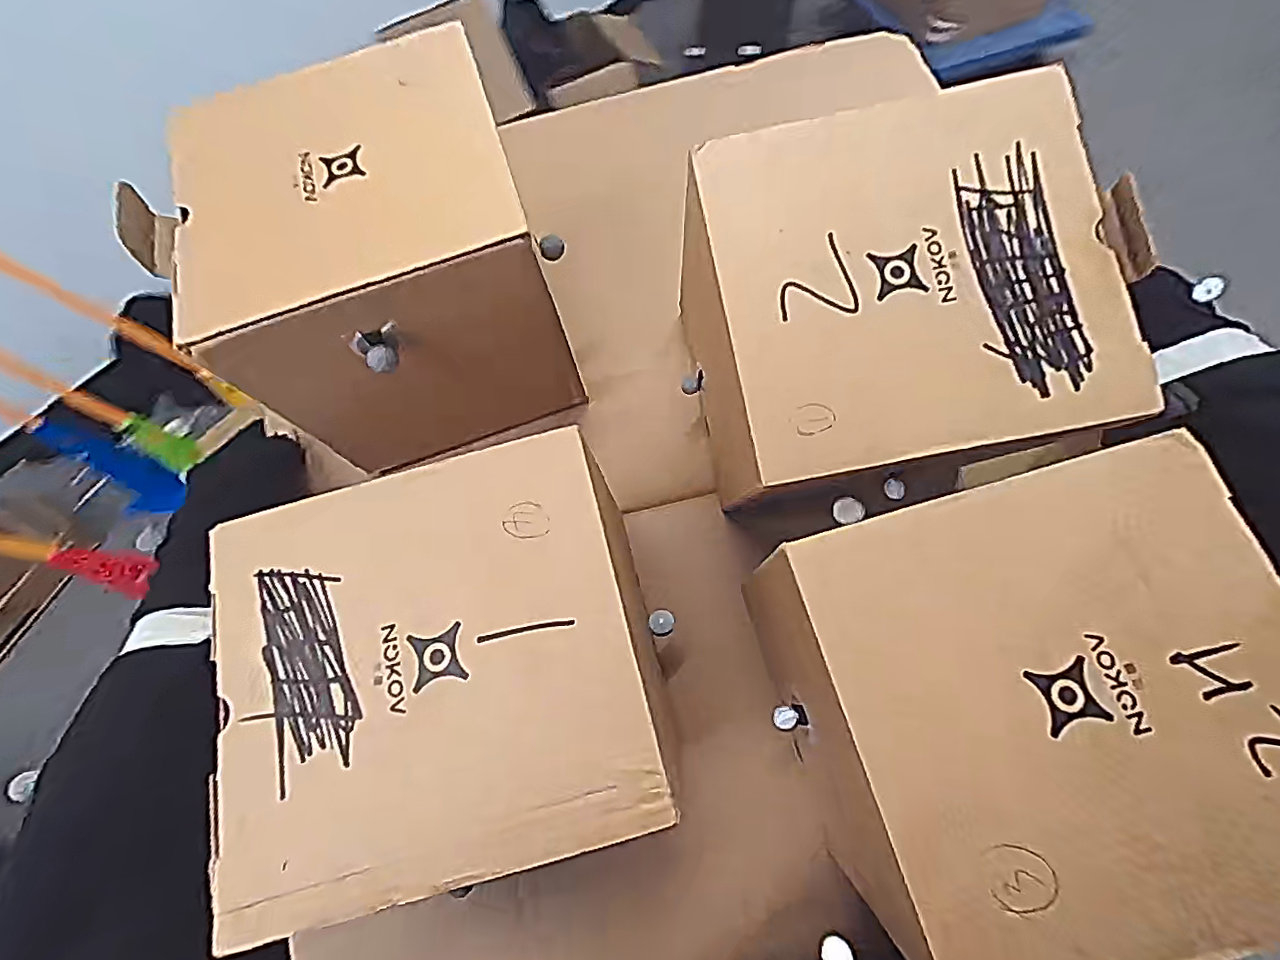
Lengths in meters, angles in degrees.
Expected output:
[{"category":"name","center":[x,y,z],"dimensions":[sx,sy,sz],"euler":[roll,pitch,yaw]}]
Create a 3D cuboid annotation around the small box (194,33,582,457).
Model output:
[{"category":"small box","center":[-0.146,-0.137,0.364],"dimensions":[0.179,0.176,0.168],"euler":[-18,70,0]}]
